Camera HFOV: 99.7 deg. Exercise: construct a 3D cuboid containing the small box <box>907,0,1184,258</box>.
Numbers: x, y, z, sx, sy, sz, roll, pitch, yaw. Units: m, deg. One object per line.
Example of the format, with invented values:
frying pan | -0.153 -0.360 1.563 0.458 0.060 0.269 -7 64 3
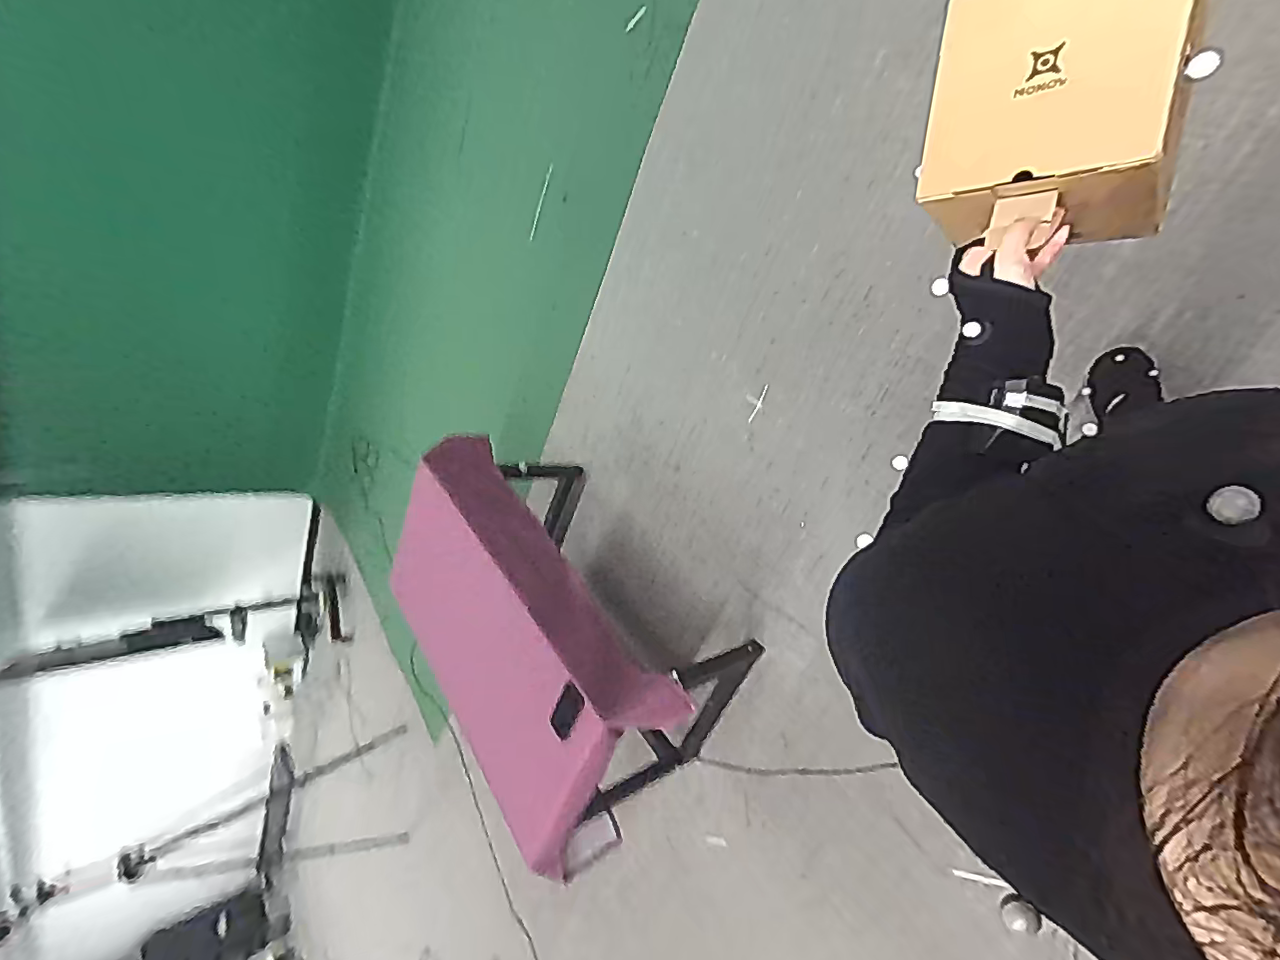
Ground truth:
small box | 0.370 -0.326 0.499 0.168 0.176 0.179 12 100 42
